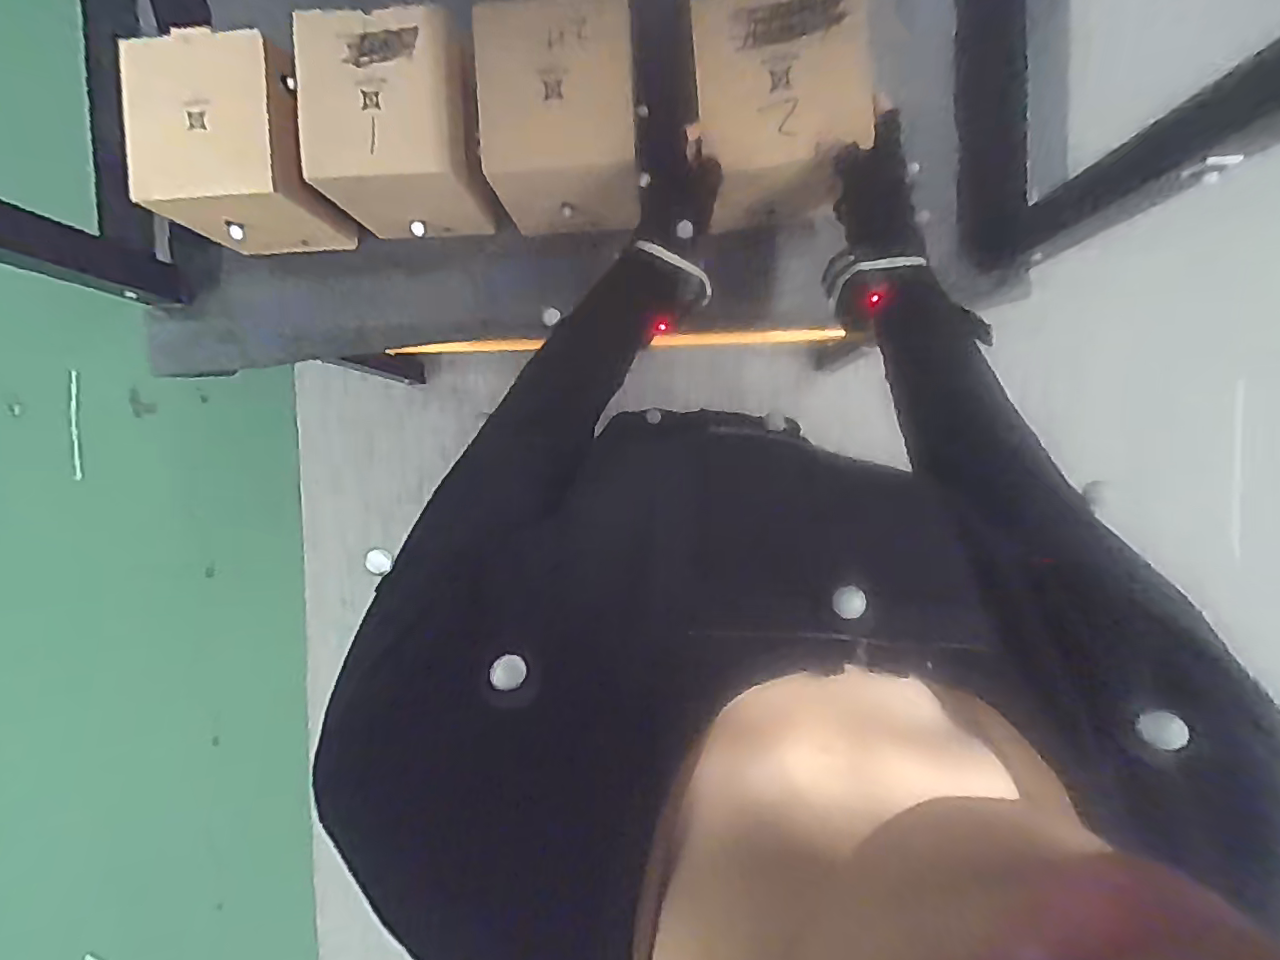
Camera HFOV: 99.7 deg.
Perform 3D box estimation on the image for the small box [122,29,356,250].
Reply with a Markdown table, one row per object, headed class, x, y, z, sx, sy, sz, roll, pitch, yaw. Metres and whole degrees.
| class | x | y | z | sx | sy | sz | roll | pitch | yaw |
| --- | --- | --- | --- | --- | --- | --- | --- | --- | --- |
| small box | -0.474 | -0.397 | 0.666 | 0.168 | 0.176 | 0.179 | -2 | 92 | 2 |
